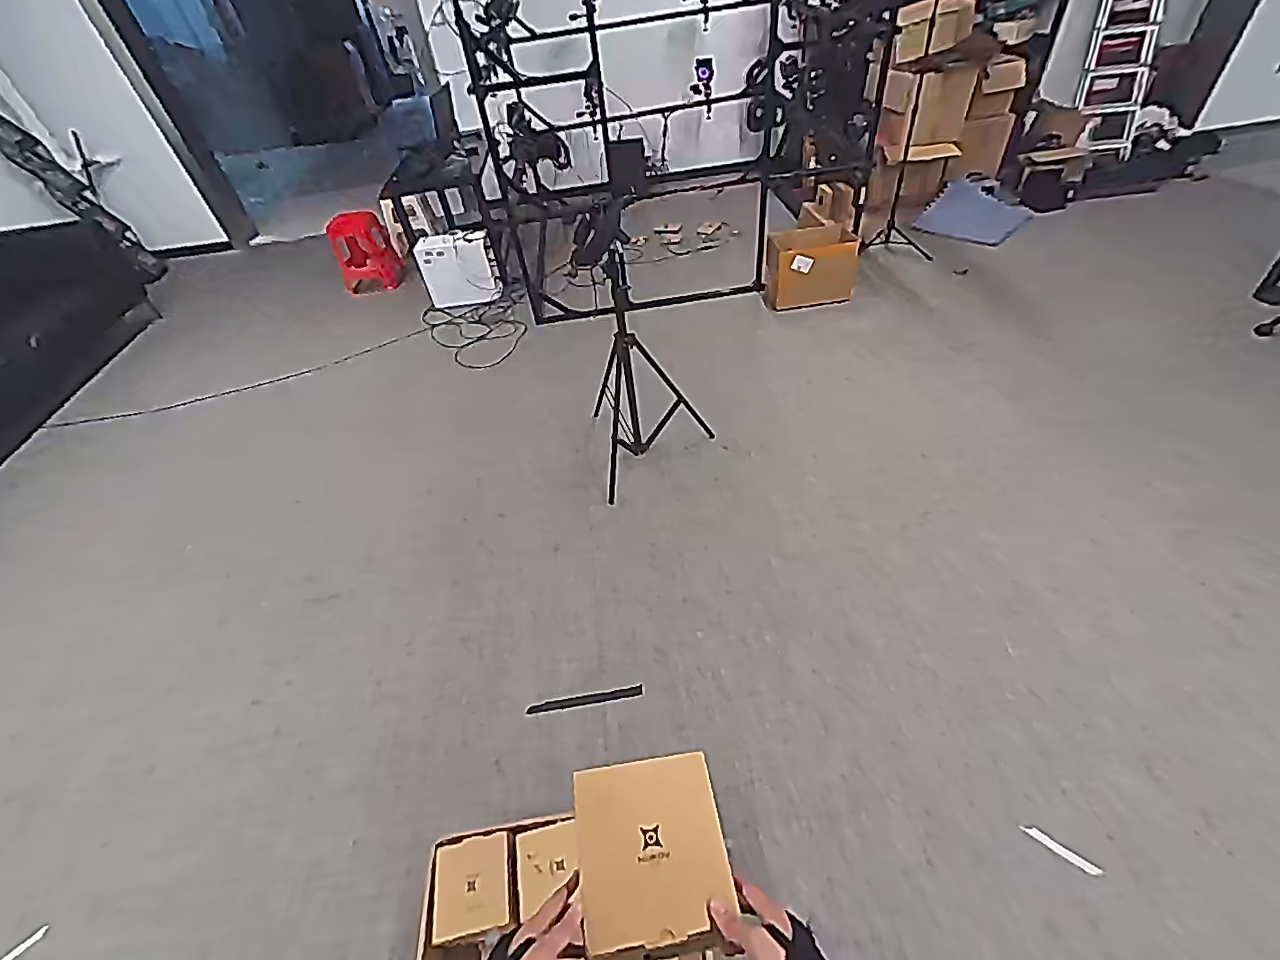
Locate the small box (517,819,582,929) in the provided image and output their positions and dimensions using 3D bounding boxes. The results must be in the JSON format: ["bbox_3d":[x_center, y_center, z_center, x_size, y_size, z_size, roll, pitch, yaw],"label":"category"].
[{"bbox_3d":[-0.176,0.908,1.249,0.179,0.176,0.168,-12,45,-5],"label":"small box"}]

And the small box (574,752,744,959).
[{"bbox_3d":[0.009,0.459,0.652,0.168,0.176,0.179,-5,46,-9],"label":"small box"}]
